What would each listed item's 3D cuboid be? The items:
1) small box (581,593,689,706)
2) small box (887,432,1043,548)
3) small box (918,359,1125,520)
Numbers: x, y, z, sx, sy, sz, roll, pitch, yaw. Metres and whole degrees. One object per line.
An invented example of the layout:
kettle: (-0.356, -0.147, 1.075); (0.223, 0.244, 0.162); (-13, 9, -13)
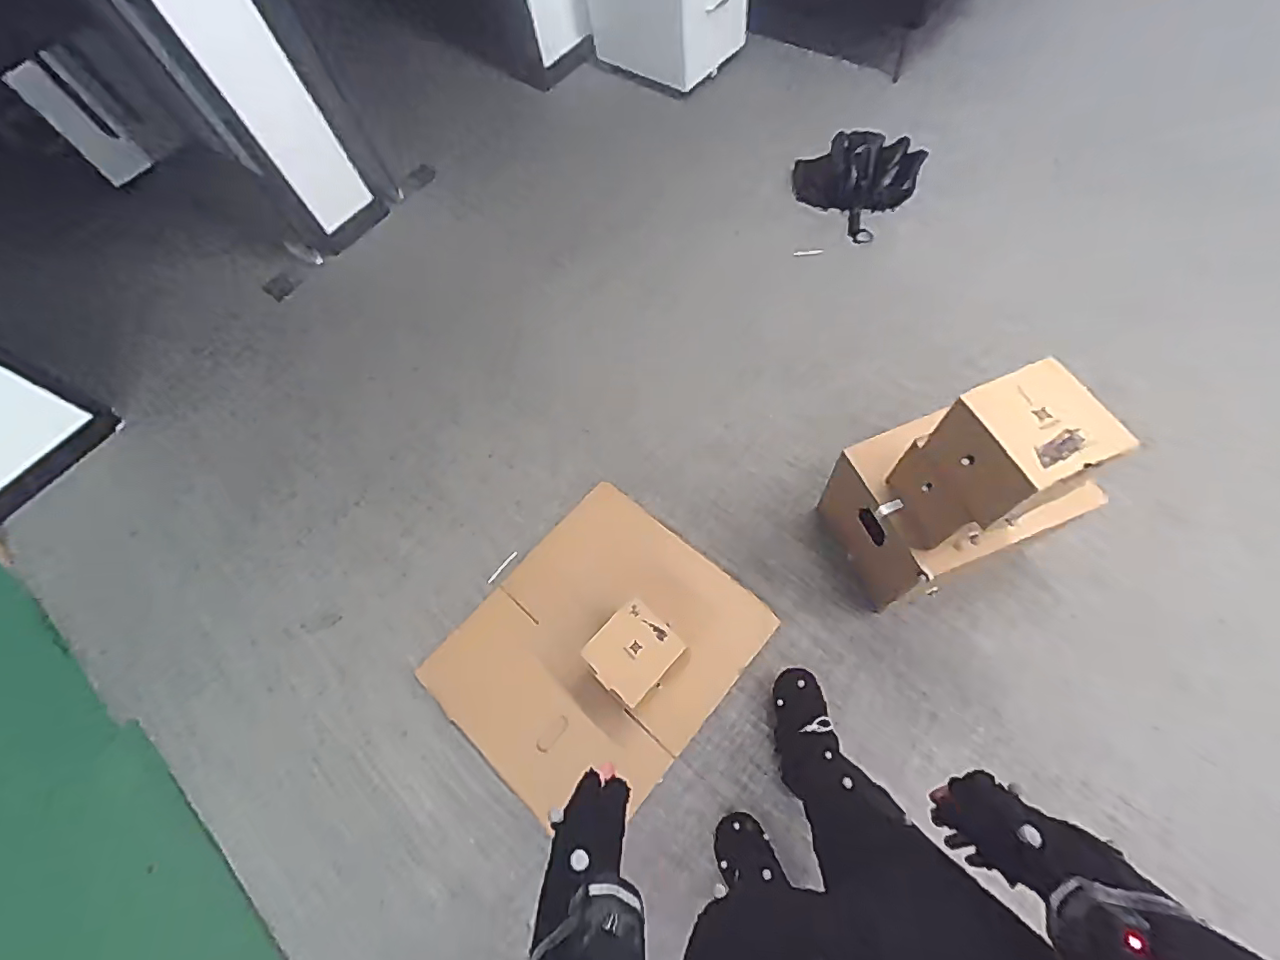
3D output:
small box: (-0.002, 0.393, 1.235); (0.168, 0.176, 0.179); (36, 75, 23)
small box: (0.598, 0.005, 1.017); (0.168, 0.176, 0.179); (-19, 66, -2)
small box: (0.588, -0.053, 0.863); (0.168, 0.176, 0.179); (-26, 66, -5)
